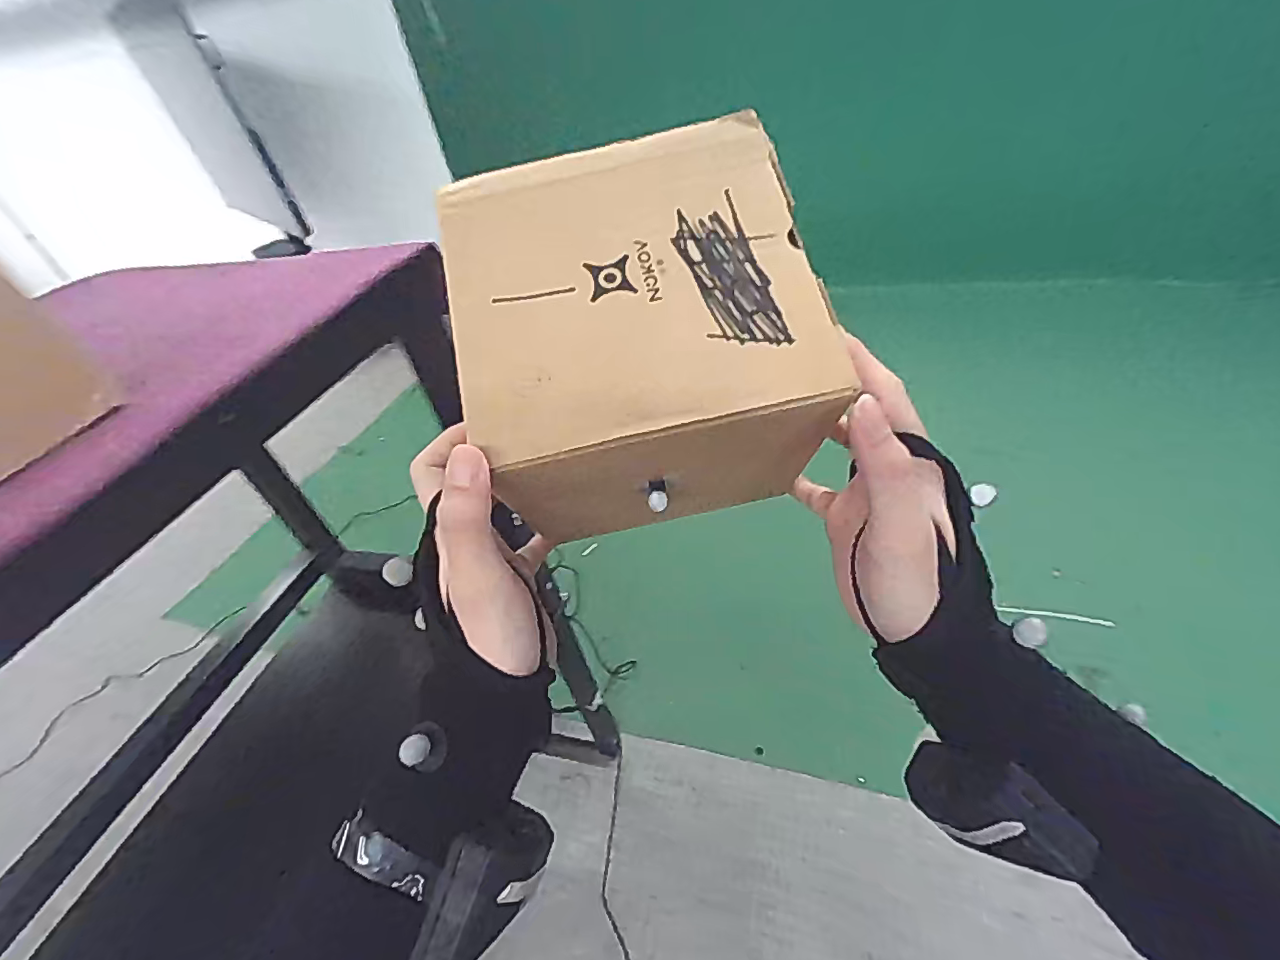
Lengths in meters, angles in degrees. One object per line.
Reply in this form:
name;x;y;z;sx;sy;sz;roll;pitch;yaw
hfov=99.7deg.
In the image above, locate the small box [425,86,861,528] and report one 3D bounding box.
small box;-0.003;-0.078;0.318;0.179;0.176;0.168;-11;73;1
